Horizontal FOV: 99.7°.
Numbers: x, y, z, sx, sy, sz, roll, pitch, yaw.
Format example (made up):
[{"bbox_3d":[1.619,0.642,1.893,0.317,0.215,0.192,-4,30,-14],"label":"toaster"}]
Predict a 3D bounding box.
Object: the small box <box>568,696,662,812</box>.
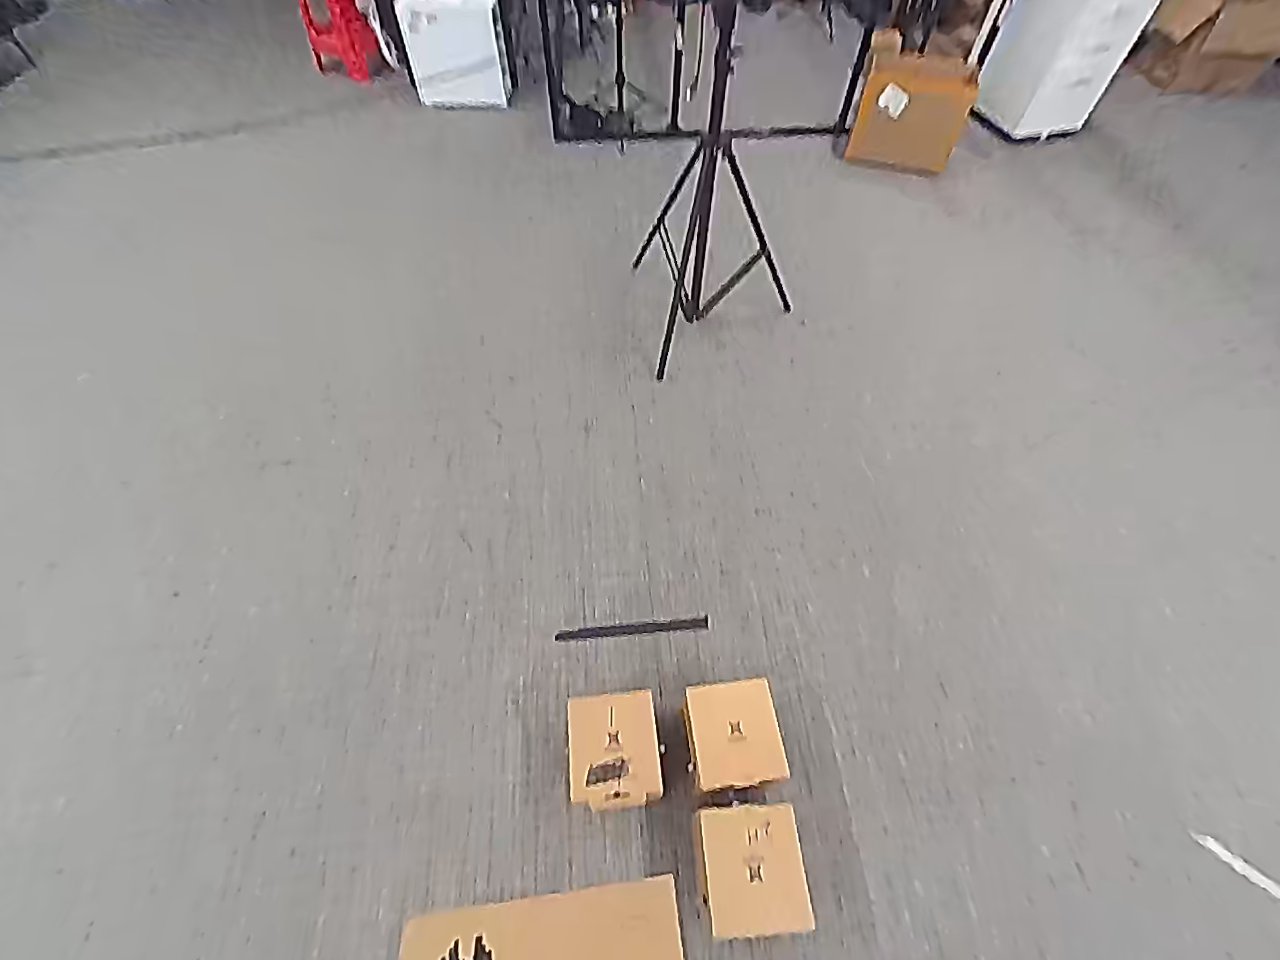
[{"bbox_3d":[-0.048,0.541,1.059,0.168,0.176,0.179,-5,55,-4],"label":"small box"}]
